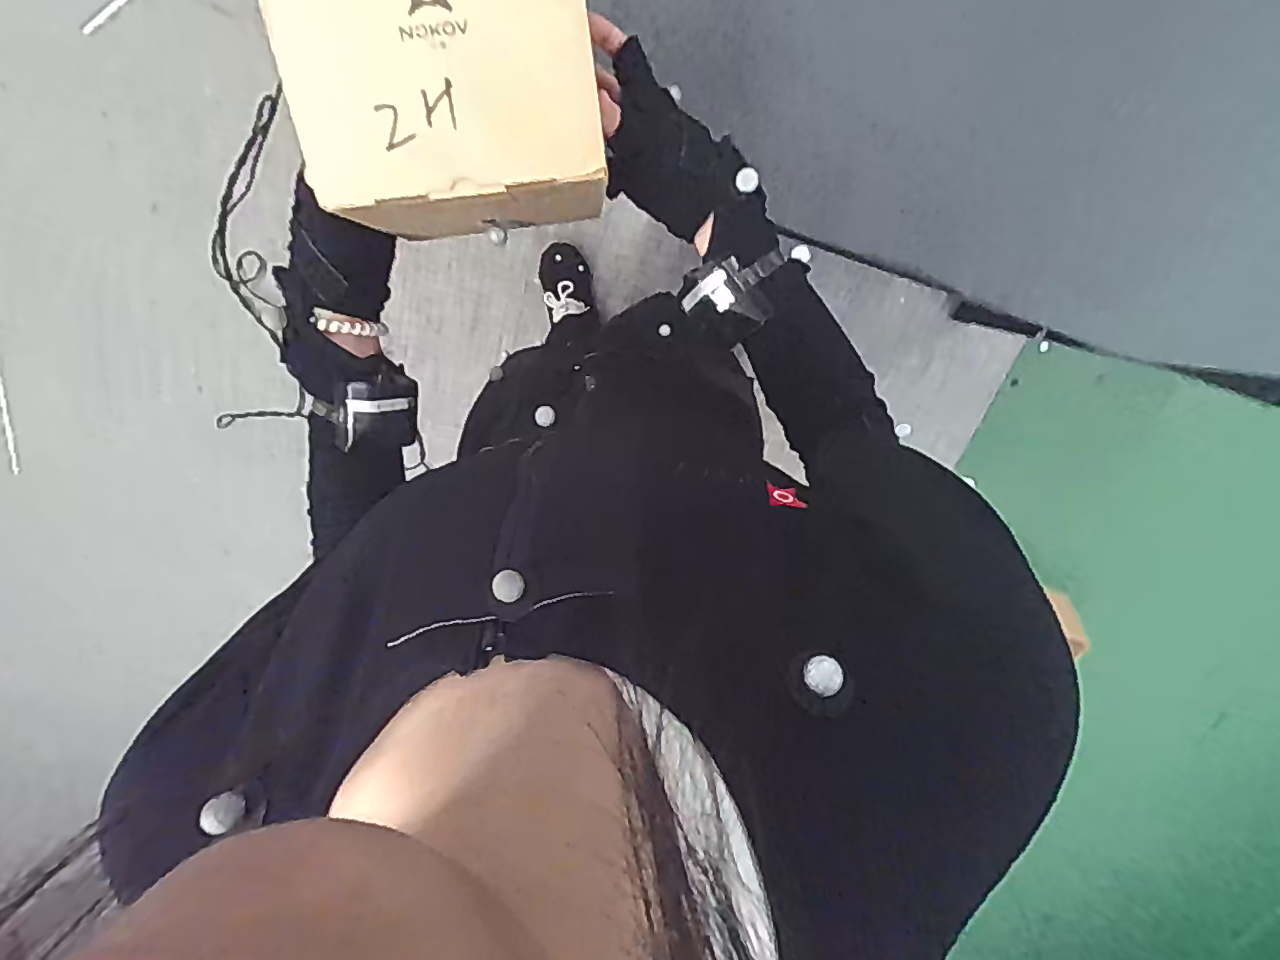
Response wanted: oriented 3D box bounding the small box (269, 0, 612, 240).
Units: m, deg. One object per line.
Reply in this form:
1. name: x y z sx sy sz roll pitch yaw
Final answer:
1. small box: -0.114 -0.269 0.356 0.168 0.176 0.179 -8 109 -3
